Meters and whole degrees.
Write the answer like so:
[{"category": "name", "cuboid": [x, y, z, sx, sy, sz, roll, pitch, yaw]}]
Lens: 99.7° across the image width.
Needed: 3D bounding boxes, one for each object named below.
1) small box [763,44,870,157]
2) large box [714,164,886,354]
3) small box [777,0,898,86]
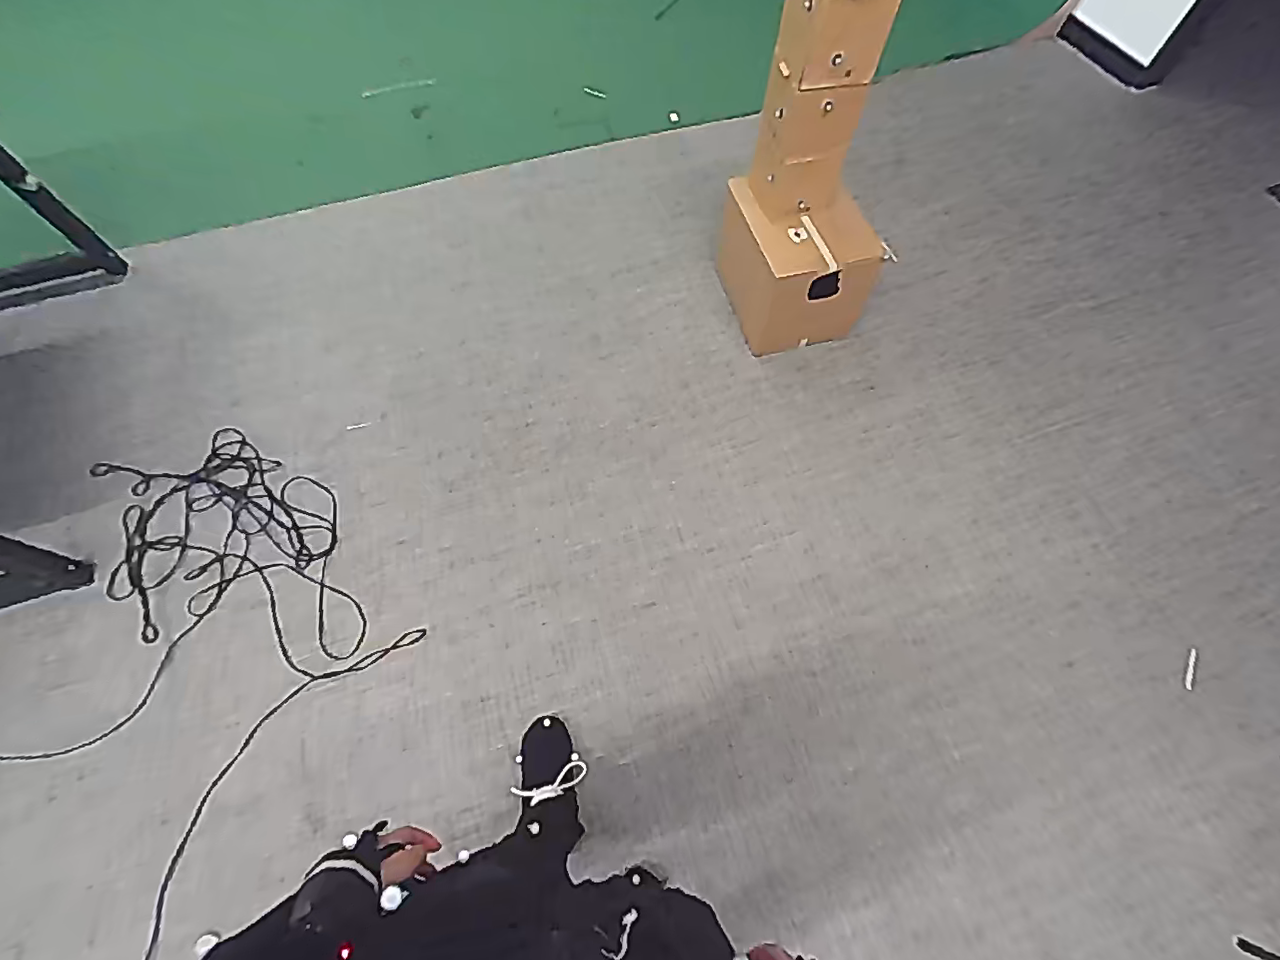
[{"category": "small box", "cuboid": [0.399, -0.890, 1.268, 0.179, 0.176, 0.168, -11, 67, -6]}, {"category": "large box", "cuboid": [0.441, -0.648, 1.602, 0.320, 0.320, 0.408, -14, 66, -5]}, {"category": "small box", "cuboid": [0.400, -0.960, 1.120, 0.168, 0.176, 0.179, -9, 67, -5]}]
